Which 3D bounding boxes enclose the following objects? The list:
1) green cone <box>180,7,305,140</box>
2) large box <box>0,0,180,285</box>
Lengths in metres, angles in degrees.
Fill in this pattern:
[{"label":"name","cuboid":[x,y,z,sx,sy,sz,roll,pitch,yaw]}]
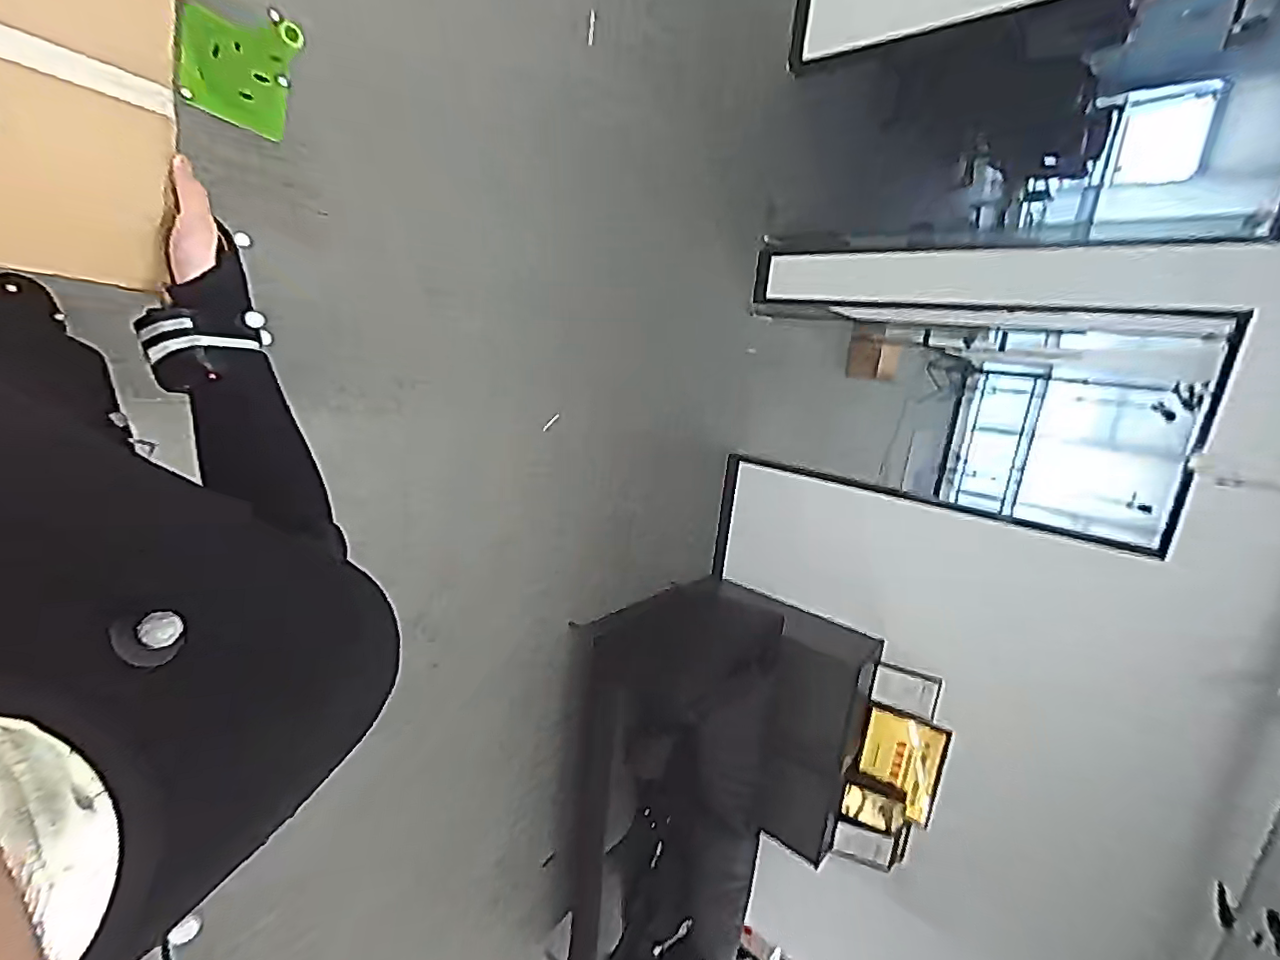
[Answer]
[{"label":"green cone","cuboid":[-0.790,-0.884,1.133,0.200,0.368,0.202,-1,102,-52]},{"label":"large box","cuboid":[-0.636,-0.355,0.390,0.408,0.320,0.320,-9,119,-52]}]
